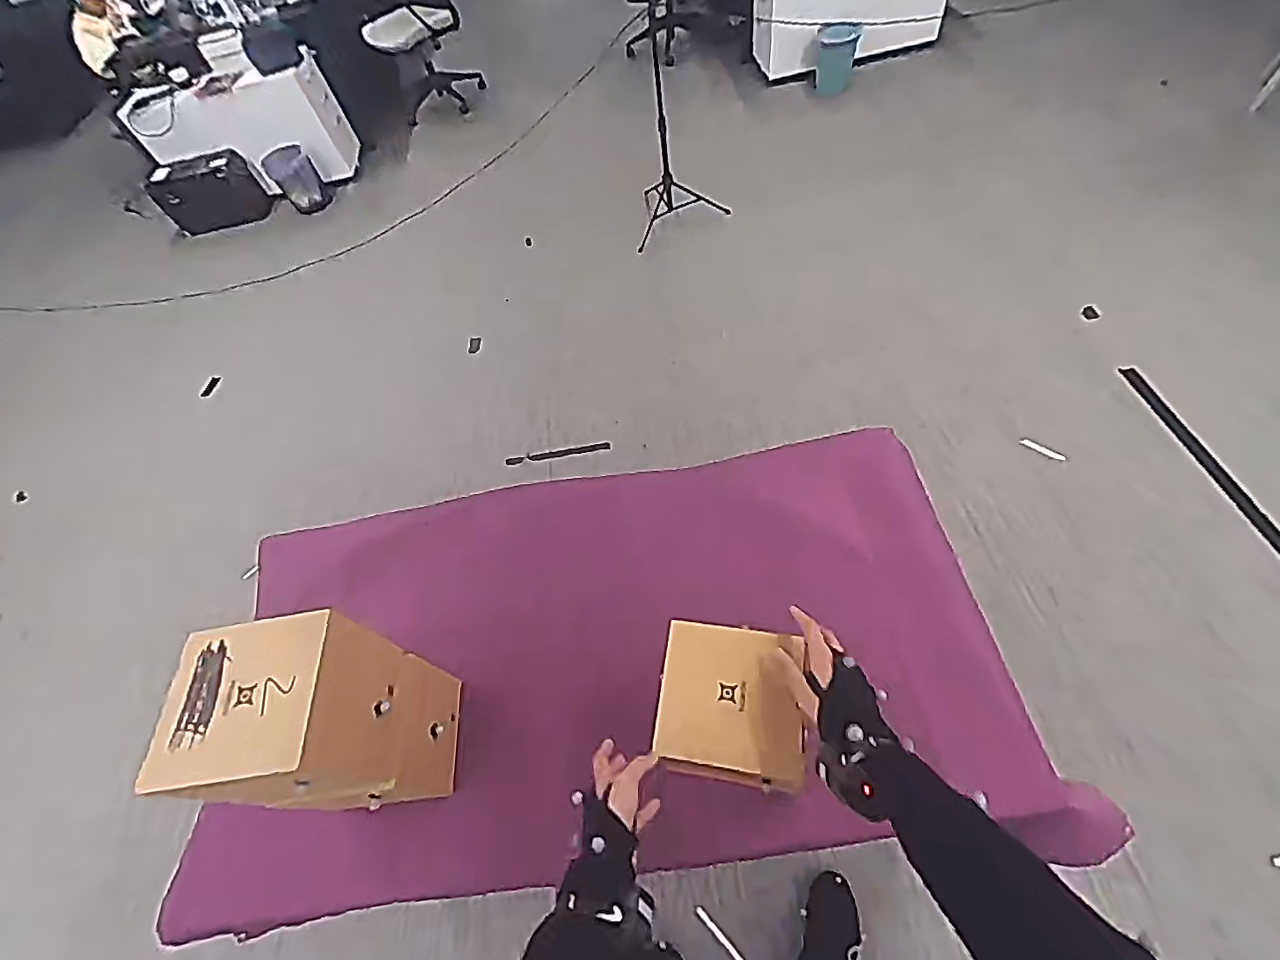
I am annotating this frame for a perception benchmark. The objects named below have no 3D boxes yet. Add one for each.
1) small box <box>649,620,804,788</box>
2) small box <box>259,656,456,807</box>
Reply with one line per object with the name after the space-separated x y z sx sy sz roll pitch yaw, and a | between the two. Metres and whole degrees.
0.119 0.303 0.721 0.179 0.176 0.168 4 58 12 | small box
-0.380 0.361 0.769 0.179 0.176 0.168 -9 56 4 | small box
